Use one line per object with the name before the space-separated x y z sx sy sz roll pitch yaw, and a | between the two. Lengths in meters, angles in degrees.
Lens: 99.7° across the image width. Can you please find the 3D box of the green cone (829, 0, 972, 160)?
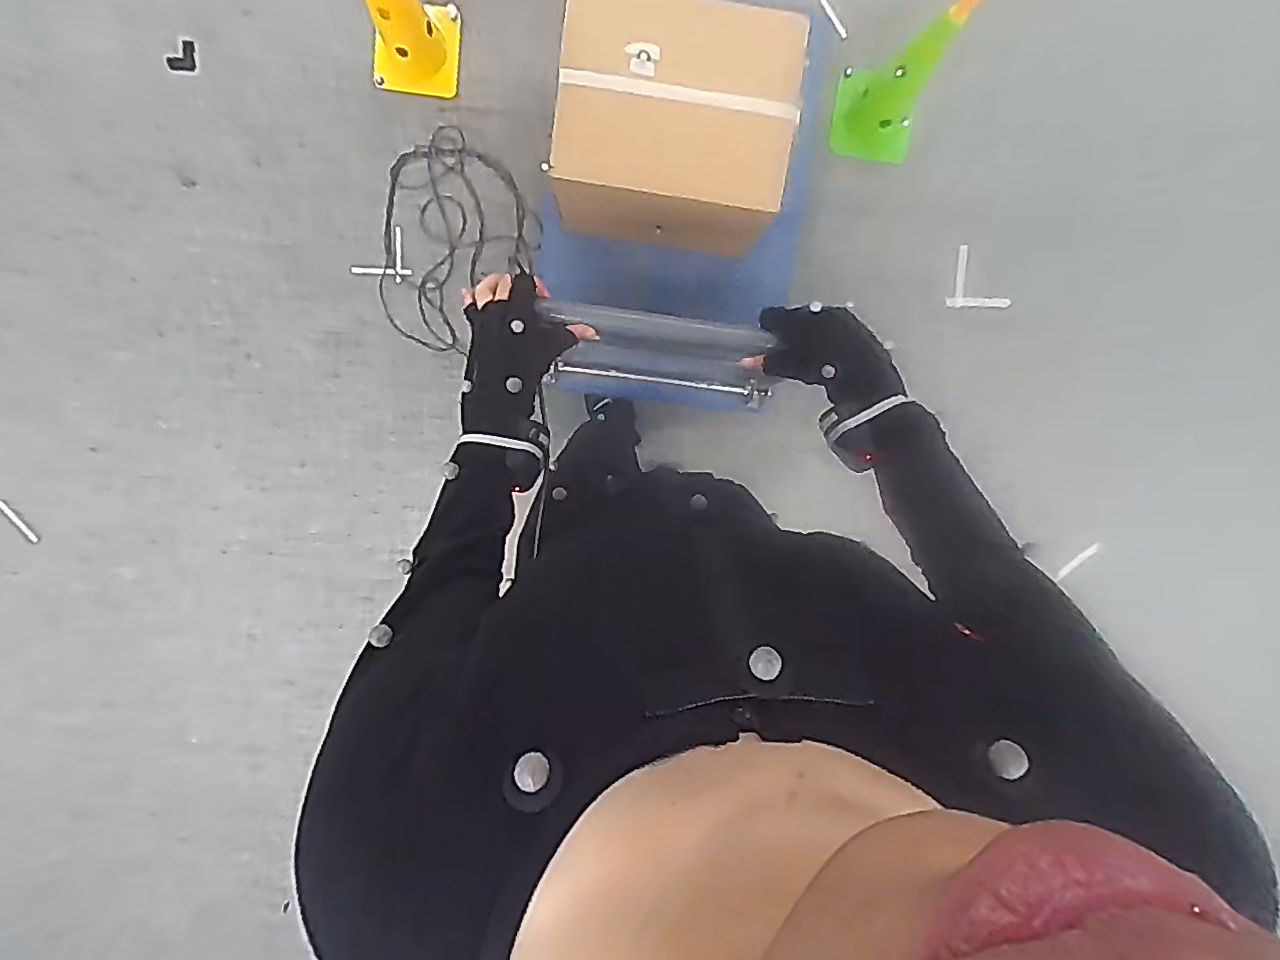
green cone | 0.588 -0.896 1.186 0.202 0.368 0.200 7 97 -4

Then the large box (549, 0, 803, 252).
large box | 0.058 -0.664 1.058 0.408 0.320 0.320 8 98 -2
